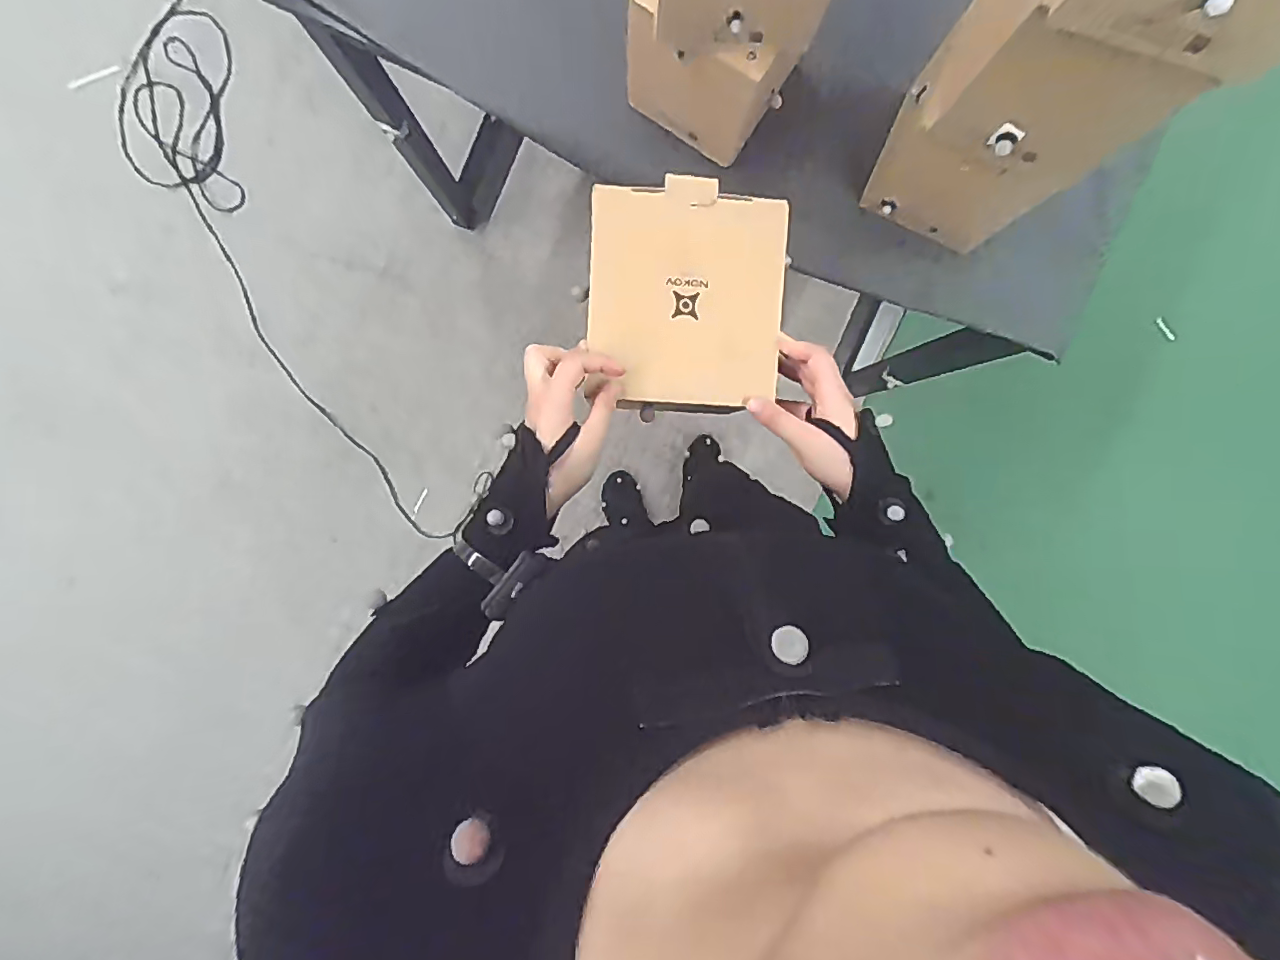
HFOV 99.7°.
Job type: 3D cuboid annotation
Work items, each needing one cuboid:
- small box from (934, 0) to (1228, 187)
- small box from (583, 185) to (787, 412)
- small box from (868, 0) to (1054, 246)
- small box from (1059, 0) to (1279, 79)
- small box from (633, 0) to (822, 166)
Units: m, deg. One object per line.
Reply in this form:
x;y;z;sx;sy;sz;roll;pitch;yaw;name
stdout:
0.409;-0.417;0.498;0.168;0.176;0.179;20;91;0;small box
0.034;-0.159;0.531;0.168;0.176;0.179;2;94;-3;small box
0.408;-0.422;0.660;0.168;0.176;0.179;24;88;-1;small box
0.411;-0.408;0.332;0.168;0.176;0.179;17;90;1;small box
0.099;-0.535;0.652;0.168;0.176;0.179;32;89;0;small box
